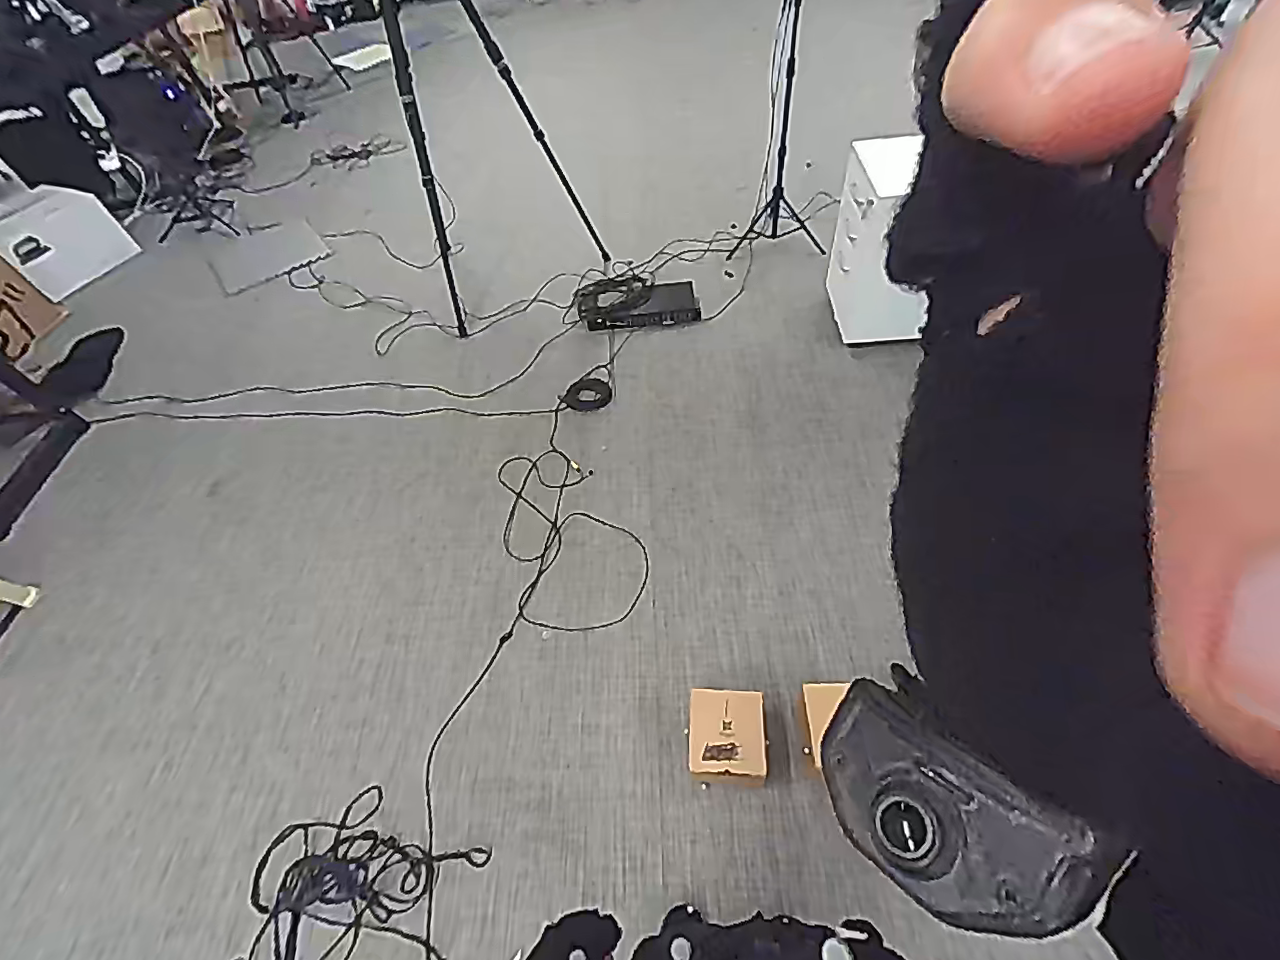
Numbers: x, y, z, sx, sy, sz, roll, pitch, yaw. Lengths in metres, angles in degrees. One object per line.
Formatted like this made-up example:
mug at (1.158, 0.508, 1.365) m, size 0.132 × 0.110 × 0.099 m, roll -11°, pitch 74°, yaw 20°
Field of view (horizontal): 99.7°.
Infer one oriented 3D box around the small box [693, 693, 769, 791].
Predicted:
small box at (0.213, 0.616, 1.265) m, size 0.168 × 0.176 × 0.179 m, roll 0°, pitch 52°, yaw 8°

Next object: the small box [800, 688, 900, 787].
small box at (0.473, 0.594, 1.246) m, size 0.168 × 0.176 × 0.179 m, roll -4°, pitch 52°, yaw 6°
